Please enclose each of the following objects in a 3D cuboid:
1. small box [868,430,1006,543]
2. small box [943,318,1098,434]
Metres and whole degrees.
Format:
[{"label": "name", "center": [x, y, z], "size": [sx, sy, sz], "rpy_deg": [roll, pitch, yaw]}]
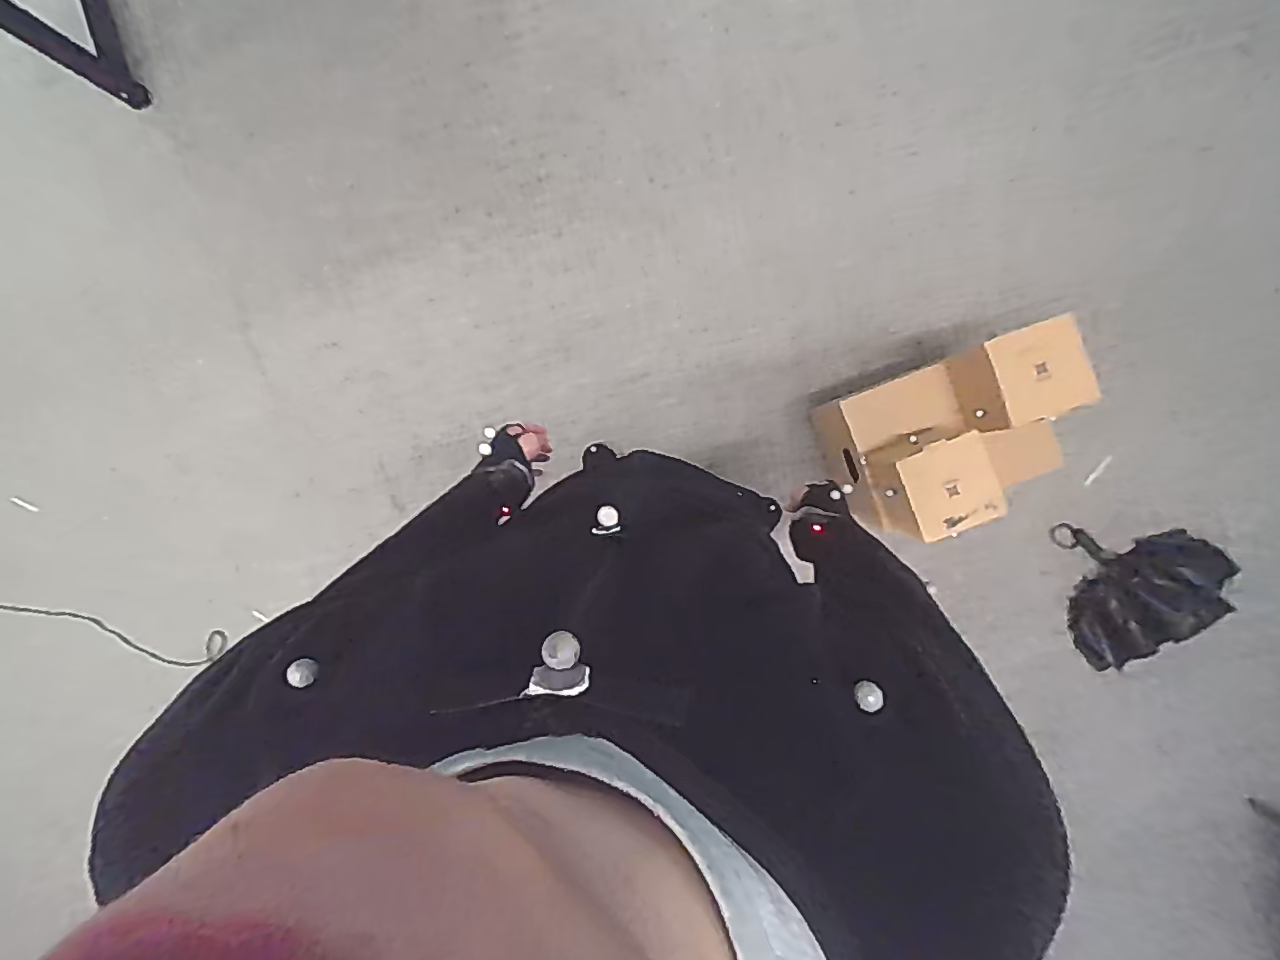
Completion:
[{"label": "small box", "center": [0.597, 0.009, 1.111], "size": [0.168, 0.176, 0.179], "rpy_deg": [-22, 93, 6]}, {"label": "small box", "center": [0.752, -0.197, 1.087], "size": [0.168, 0.176, 0.179], "rpy_deg": [-19, 88, 4]}]
